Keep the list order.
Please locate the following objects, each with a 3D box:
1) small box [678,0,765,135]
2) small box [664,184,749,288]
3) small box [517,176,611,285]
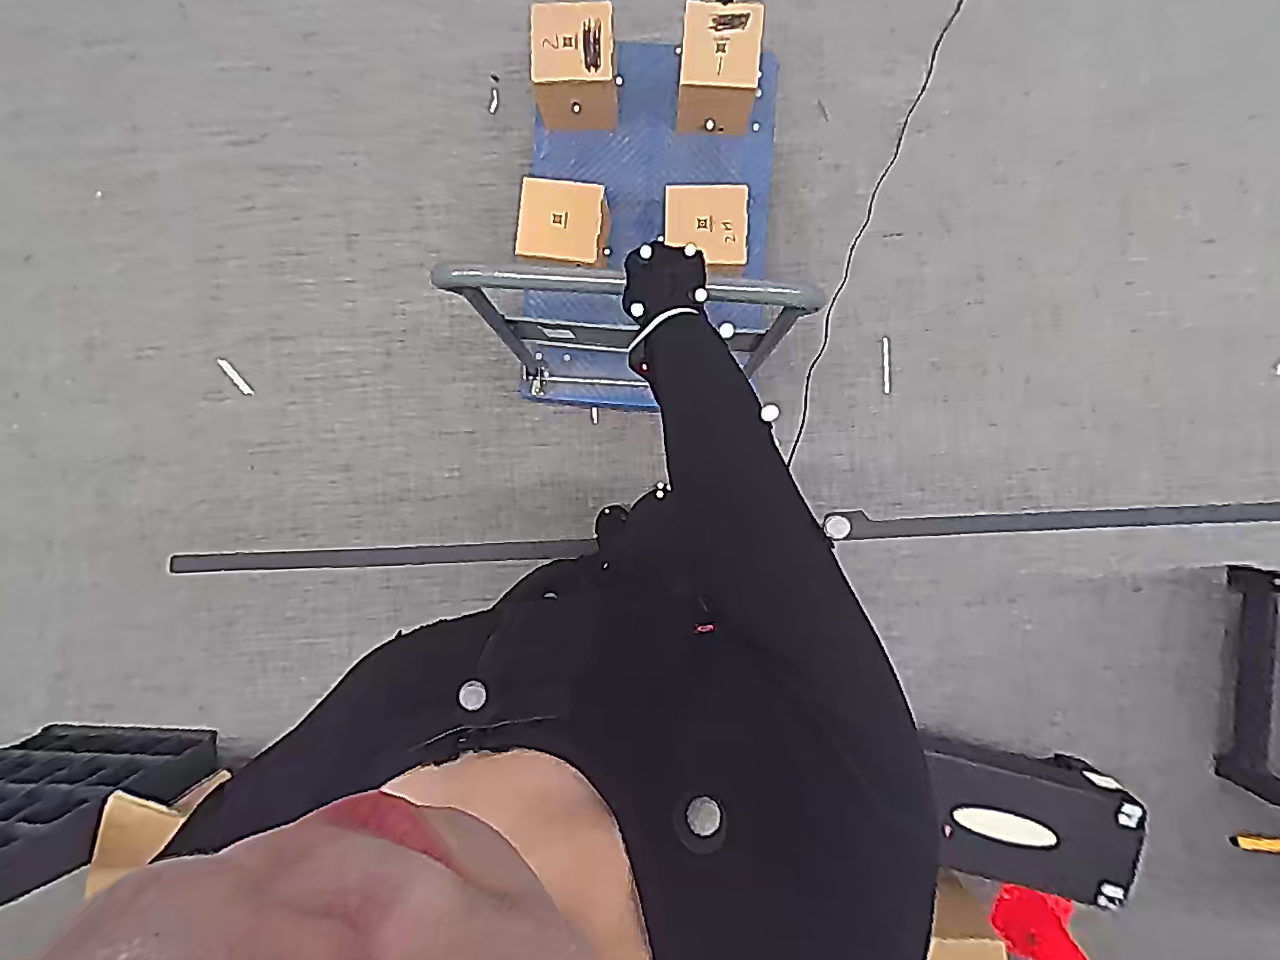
[{"bbox_3d":[0.175,-0.915,1.210,0.168,0.176,0.179,4,92,2],"label":"small box"},{"bbox_3d":[0.144,-0.540,1.215,0.179,0.176,0.168,1,91,2],"label":"small box"},{"bbox_3d":[-0.166,-0.555,1.225,0.179,0.176,0.168,6,91,0],"label":"small box"}]
